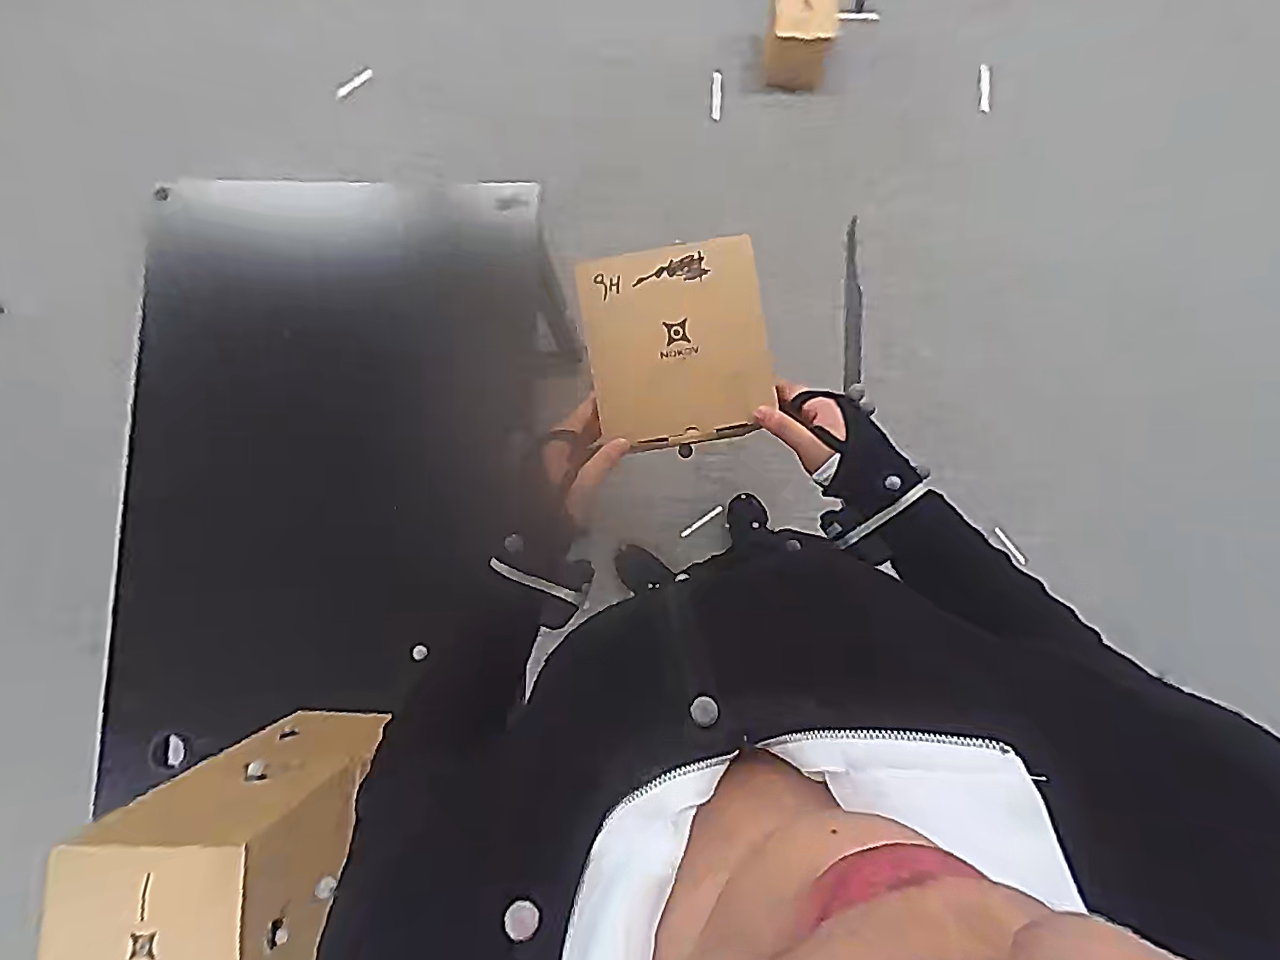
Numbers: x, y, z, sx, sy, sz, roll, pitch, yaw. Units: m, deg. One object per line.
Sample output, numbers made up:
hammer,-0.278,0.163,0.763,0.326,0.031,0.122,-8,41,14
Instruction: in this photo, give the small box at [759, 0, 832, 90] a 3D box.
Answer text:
small box,0.439,-1.265,1.544,0.168,0.176,0.179,2,86,1

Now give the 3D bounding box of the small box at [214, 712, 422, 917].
small box,-0.400,0.407,0.685,0.179,0.176,0.168,1,86,0

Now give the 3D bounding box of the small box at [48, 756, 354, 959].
small box,-0.400,0.393,0.521,0.168,0.176,0.179,0,85,1
